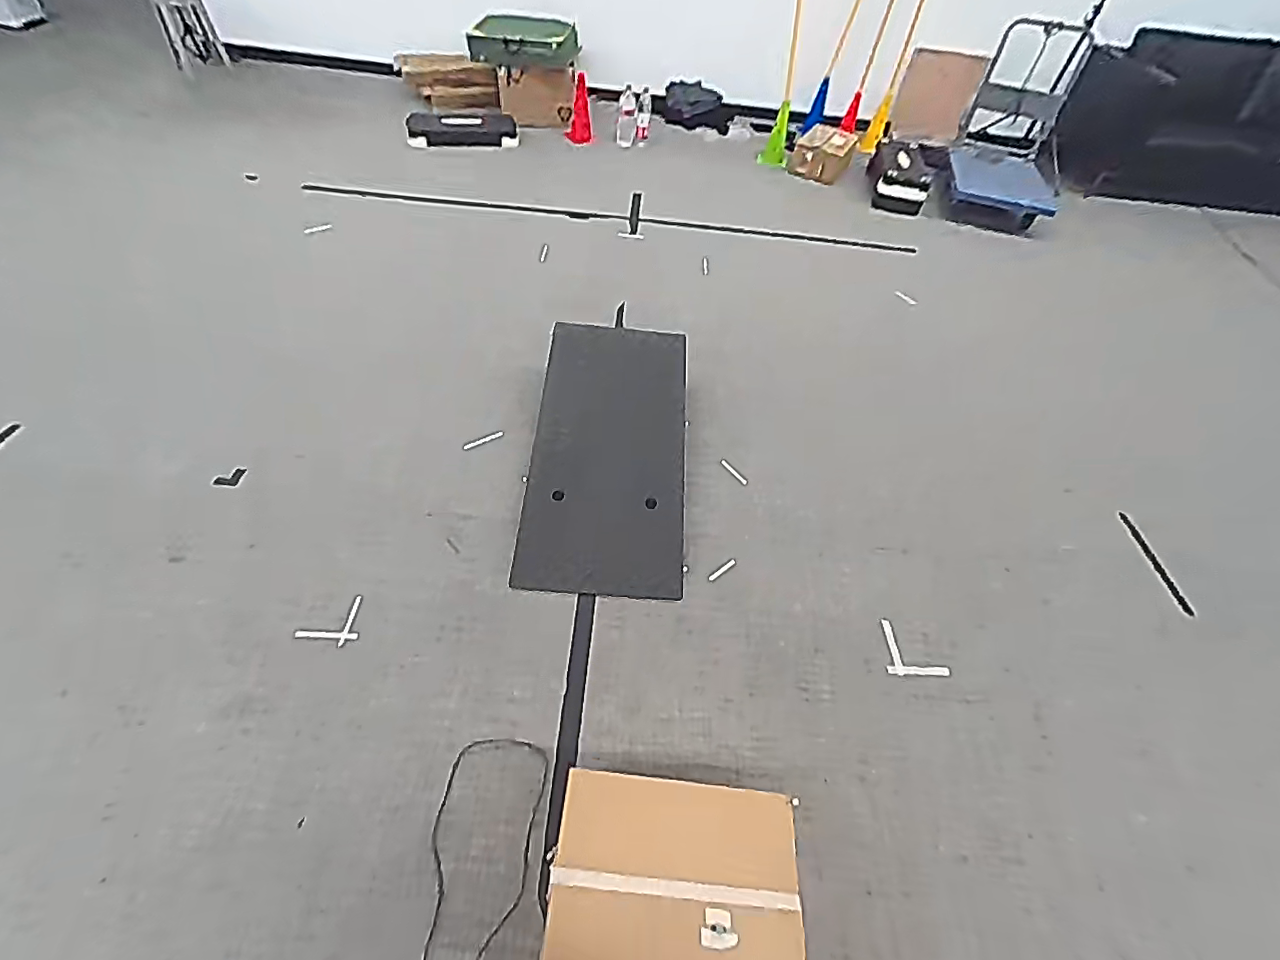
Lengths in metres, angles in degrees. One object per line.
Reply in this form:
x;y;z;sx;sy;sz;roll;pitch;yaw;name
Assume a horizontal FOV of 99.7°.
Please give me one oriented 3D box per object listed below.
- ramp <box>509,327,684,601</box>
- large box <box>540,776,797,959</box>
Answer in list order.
-0.102;-0.106;1.768;0.509;0.206;0.991;5;51;-5;ramp
0.036;0.765;0.990;0.408;0.320;0.320;8;51;-2;large box
